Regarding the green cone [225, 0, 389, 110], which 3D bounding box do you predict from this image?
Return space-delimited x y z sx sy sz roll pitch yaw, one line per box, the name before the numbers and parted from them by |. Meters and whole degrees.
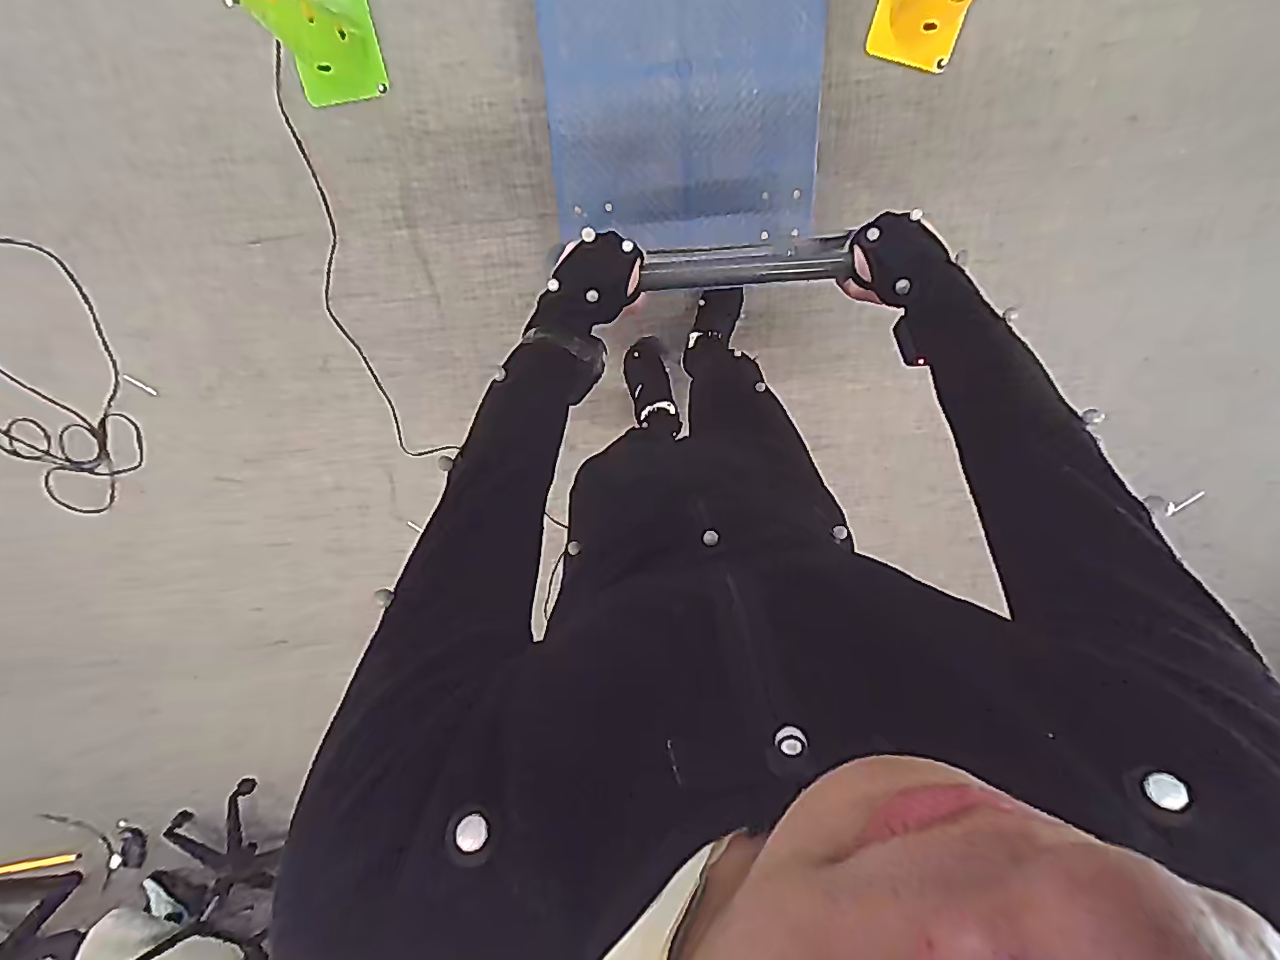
green cone | -0.699 -0.915 1.081 0.202 0.368 0.200 -7 112 5
